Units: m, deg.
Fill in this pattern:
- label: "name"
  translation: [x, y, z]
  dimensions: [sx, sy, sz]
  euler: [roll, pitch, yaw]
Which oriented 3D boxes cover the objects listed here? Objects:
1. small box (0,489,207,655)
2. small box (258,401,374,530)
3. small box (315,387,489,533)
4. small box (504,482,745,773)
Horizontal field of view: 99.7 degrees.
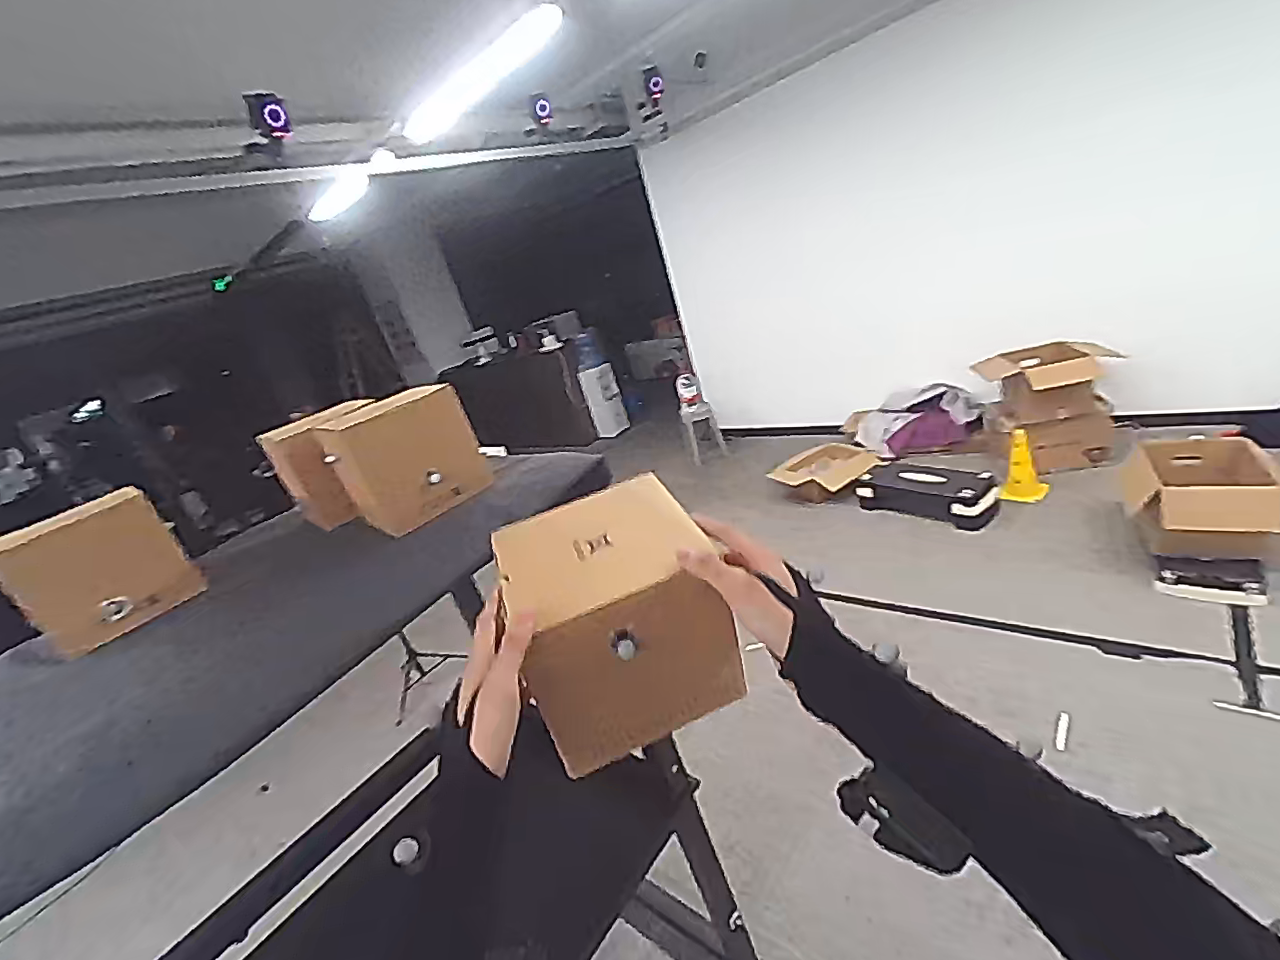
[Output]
- label: "small box"
  translation: [-0.778, 0.127, 0.785]
  dimensions: [0.179, 0.176, 0.168]
  euler: [3, 31, 42]
- label: "small box"
  translation: [-0.538, -0.029, 0.965]
  dimensions: [0.168, 0.176, 0.179]
  euler: [-34, 28, -35]
- label: "small box"
  translation: [-0.366, -0.034, 0.840]
  dimensions: [0.168, 0.176, 0.179]
  euler: [-34, 26, -33]
- label: "small box"
  translation: [-0.012, 0.133, 0.517]
  dimensions: [0.179, 0.176, 0.168]
  euler: [-21, 29, -10]
